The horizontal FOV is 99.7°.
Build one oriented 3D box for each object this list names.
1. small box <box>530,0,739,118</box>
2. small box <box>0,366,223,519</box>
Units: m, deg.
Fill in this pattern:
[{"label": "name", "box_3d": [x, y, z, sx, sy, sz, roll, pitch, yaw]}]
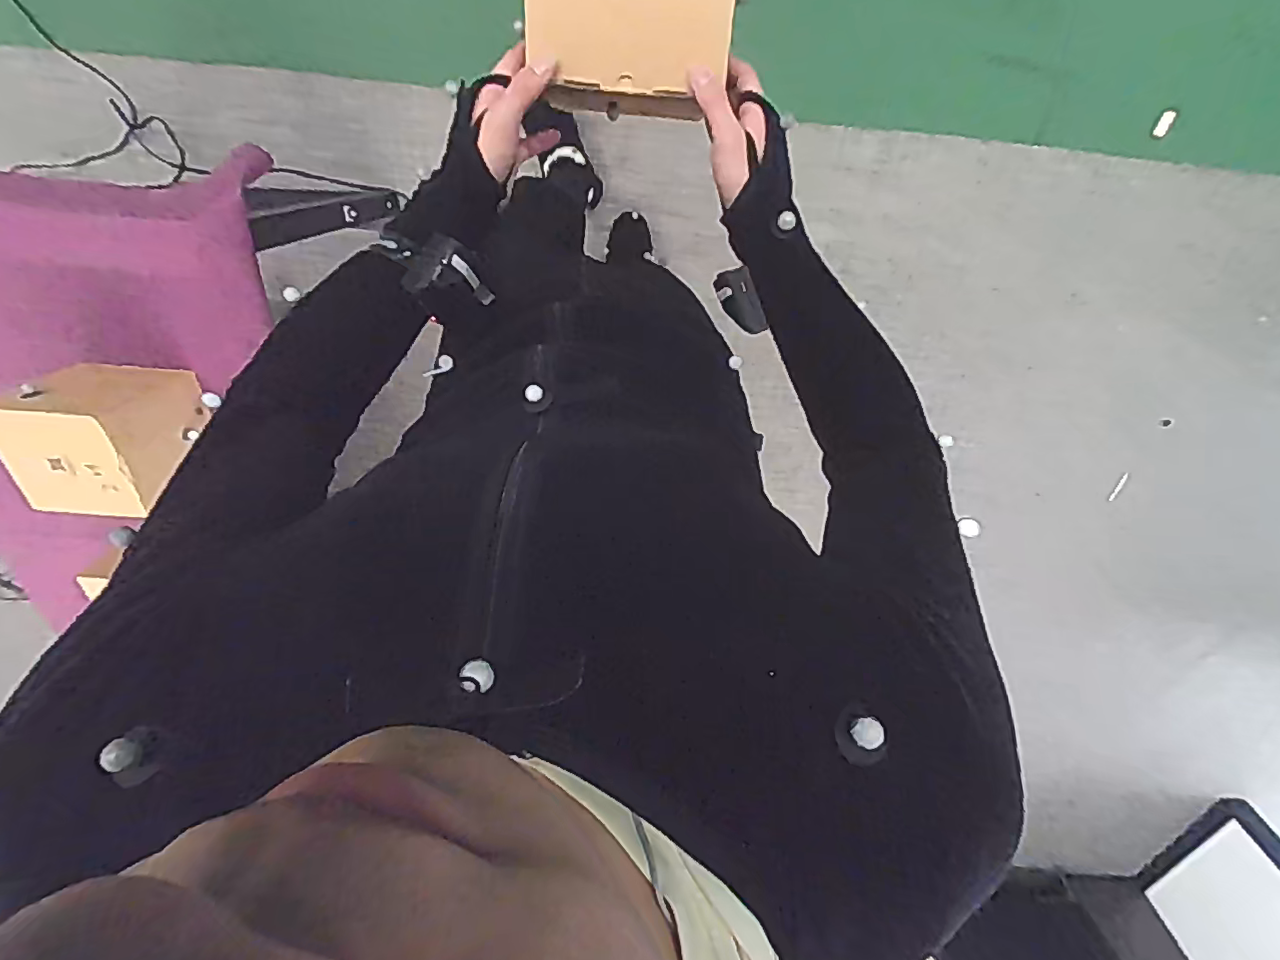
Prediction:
[{"label": "small box", "box_3d": [-0.005, -0.437, 0.477, 0.168, 0.176, 0.179, 3, 120, -4]}, {"label": "small box", "box_3d": [-0.785, -0.062, 0.806, 0.179, 0.176, 0.168, 4, 122, 0]}]
